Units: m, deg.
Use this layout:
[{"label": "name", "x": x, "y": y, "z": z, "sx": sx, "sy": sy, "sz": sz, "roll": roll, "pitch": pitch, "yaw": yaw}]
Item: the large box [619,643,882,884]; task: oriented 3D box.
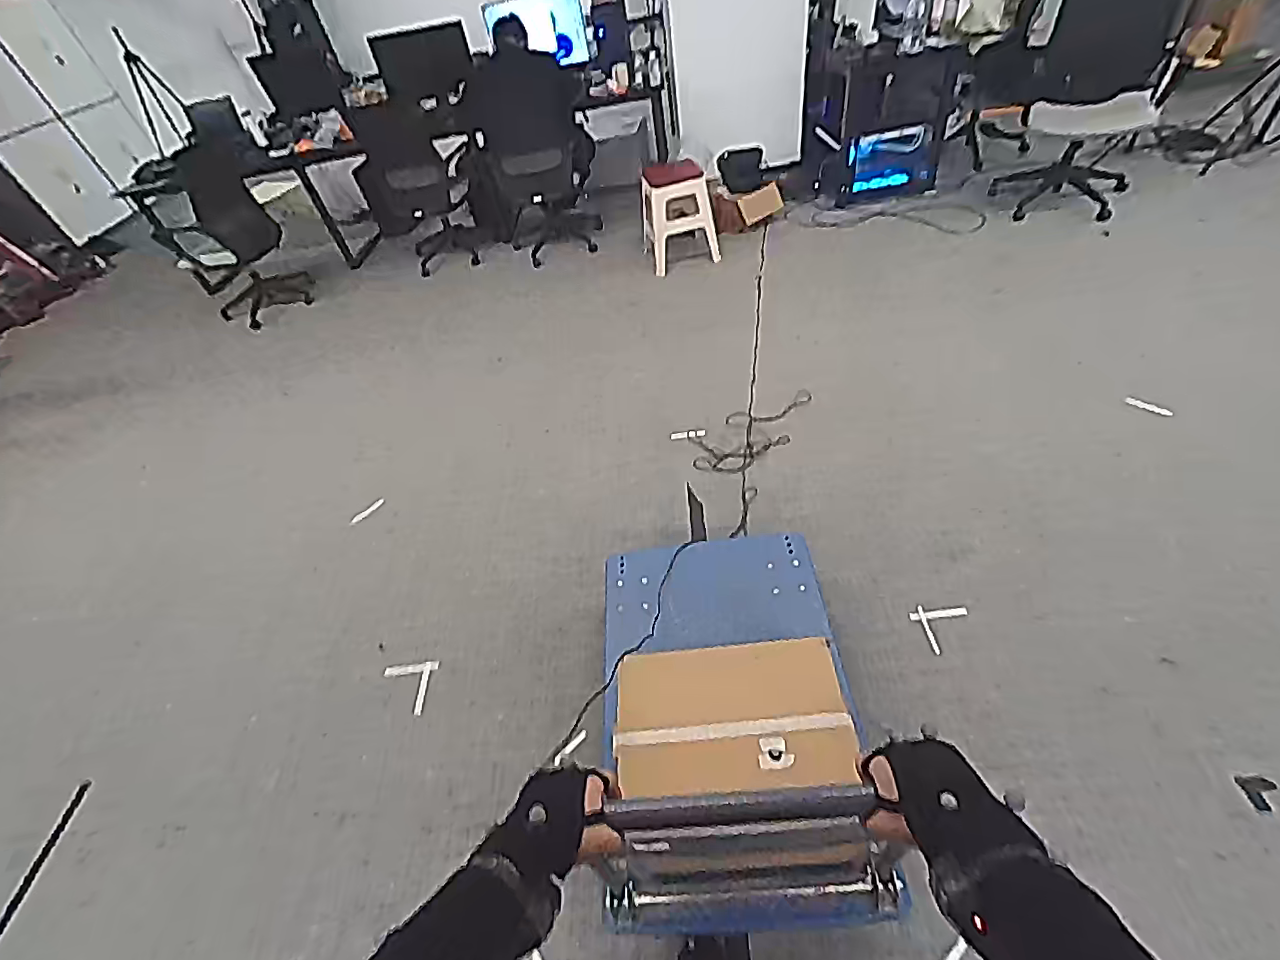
[{"label": "large box", "x": 0.182, "y": 0.543, "z": 1.028, "sx": 0.408, "sy": 0.320, "sz": 0.320, "roll": -7, "pitch": 47, "yaw": 5}]
